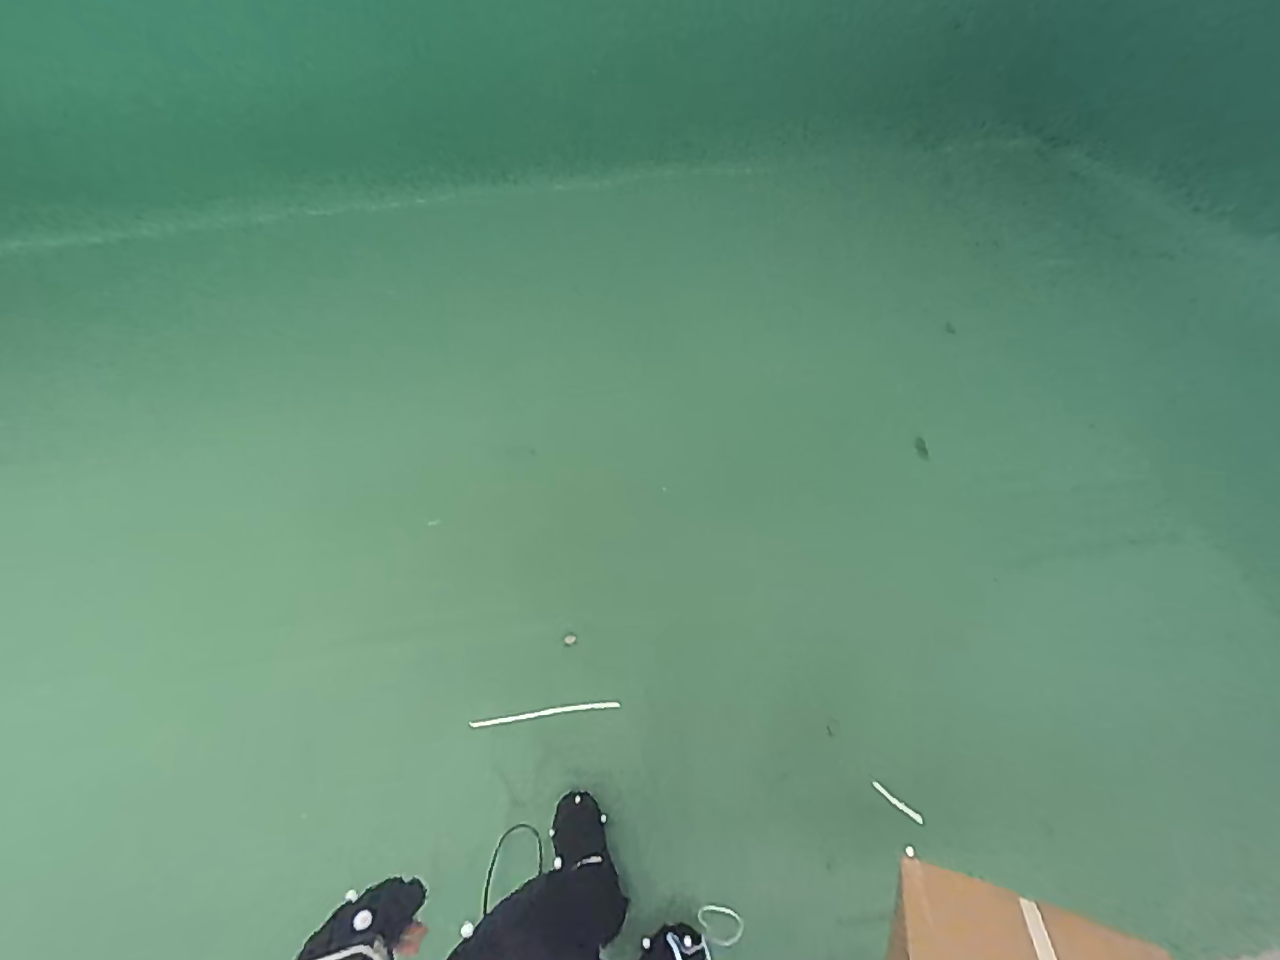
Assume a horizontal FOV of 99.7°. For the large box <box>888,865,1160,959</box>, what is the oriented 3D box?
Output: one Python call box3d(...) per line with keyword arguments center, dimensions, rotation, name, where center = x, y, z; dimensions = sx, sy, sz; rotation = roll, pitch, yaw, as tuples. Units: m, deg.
box3d(center=(0.444, 0.752, 0.585), dimensions=(0.320, 0.408, 0.320), rotation=(9, 96, 21), name="large box")
